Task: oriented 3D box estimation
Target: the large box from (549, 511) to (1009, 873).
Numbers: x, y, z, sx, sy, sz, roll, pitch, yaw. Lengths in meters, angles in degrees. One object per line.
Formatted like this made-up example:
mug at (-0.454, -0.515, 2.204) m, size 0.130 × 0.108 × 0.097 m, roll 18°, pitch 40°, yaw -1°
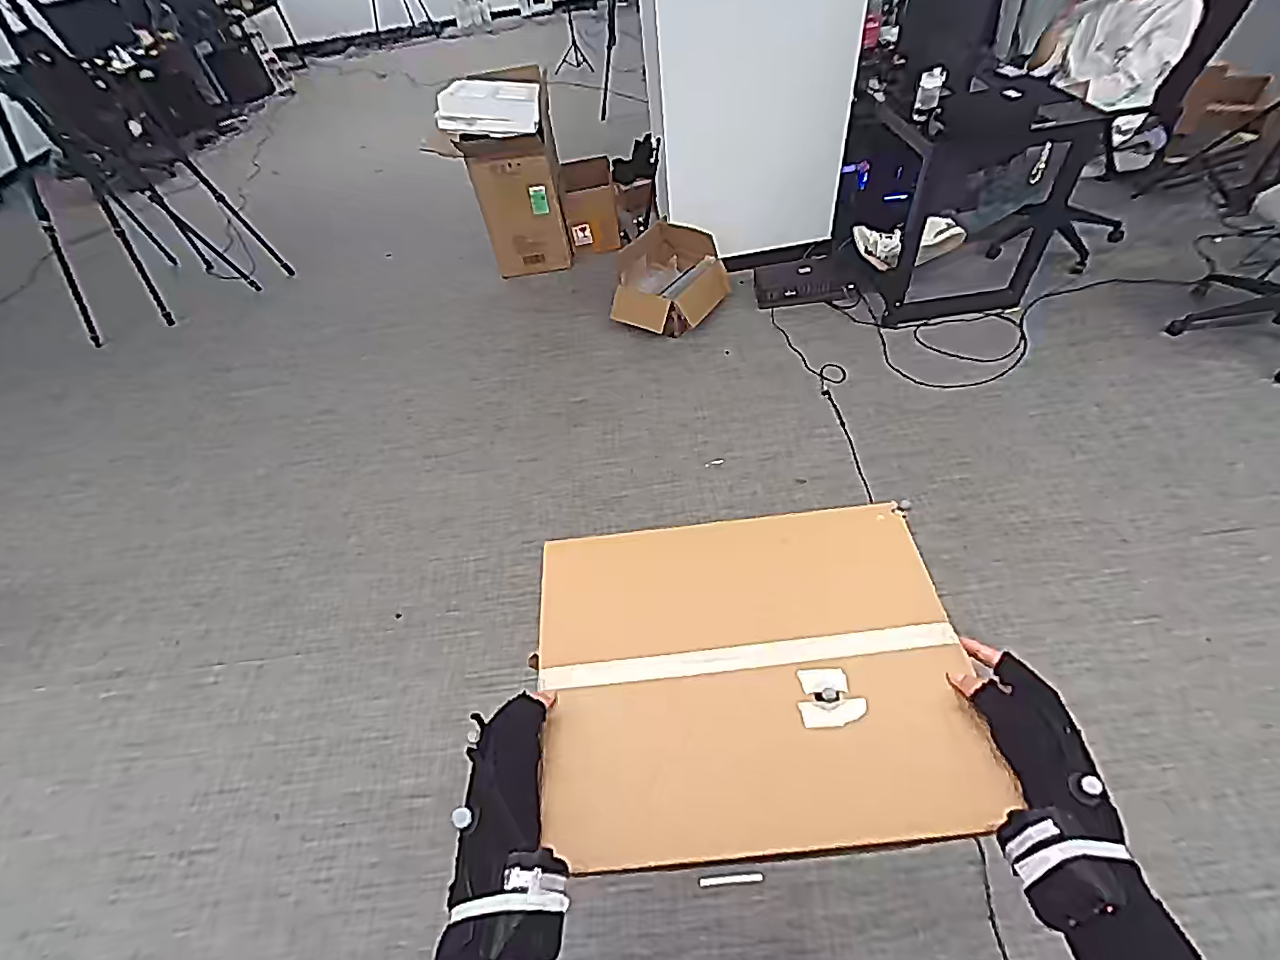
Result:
large box at (0.115, 0.271, 0.665) m, size 0.408 × 0.320 × 0.320 m, roll -7°, pitch 54°, yaw 1°
